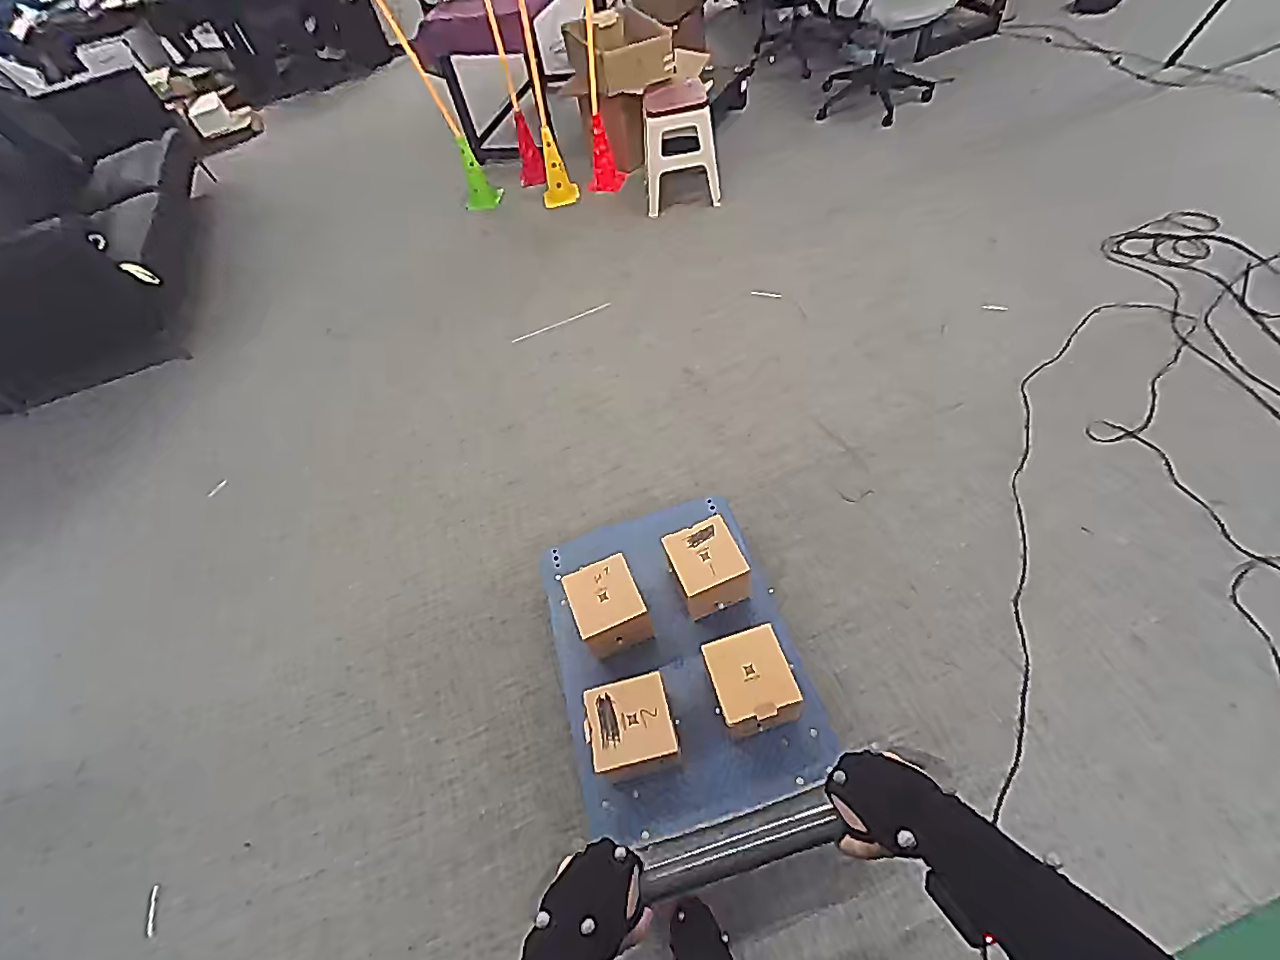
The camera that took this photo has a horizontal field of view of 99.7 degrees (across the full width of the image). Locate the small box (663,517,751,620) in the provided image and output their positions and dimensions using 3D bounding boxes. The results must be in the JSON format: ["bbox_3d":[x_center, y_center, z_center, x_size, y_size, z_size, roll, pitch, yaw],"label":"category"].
[{"bbox_3d":[0.170,0.230,1.393,0.168,0.176,0.179,-22,55,-5],"label":"small box"}]

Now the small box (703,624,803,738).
[{"bbox_3d":[0.247,0.457,1.221,0.168,0.176,0.179,-18,55,-3],"label":"small box"}]

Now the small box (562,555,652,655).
[{"bbox_3d":[-0.078,0.324,1.369,0.168,0.176,0.179,-22,55,-7],"label":"small box"}]
